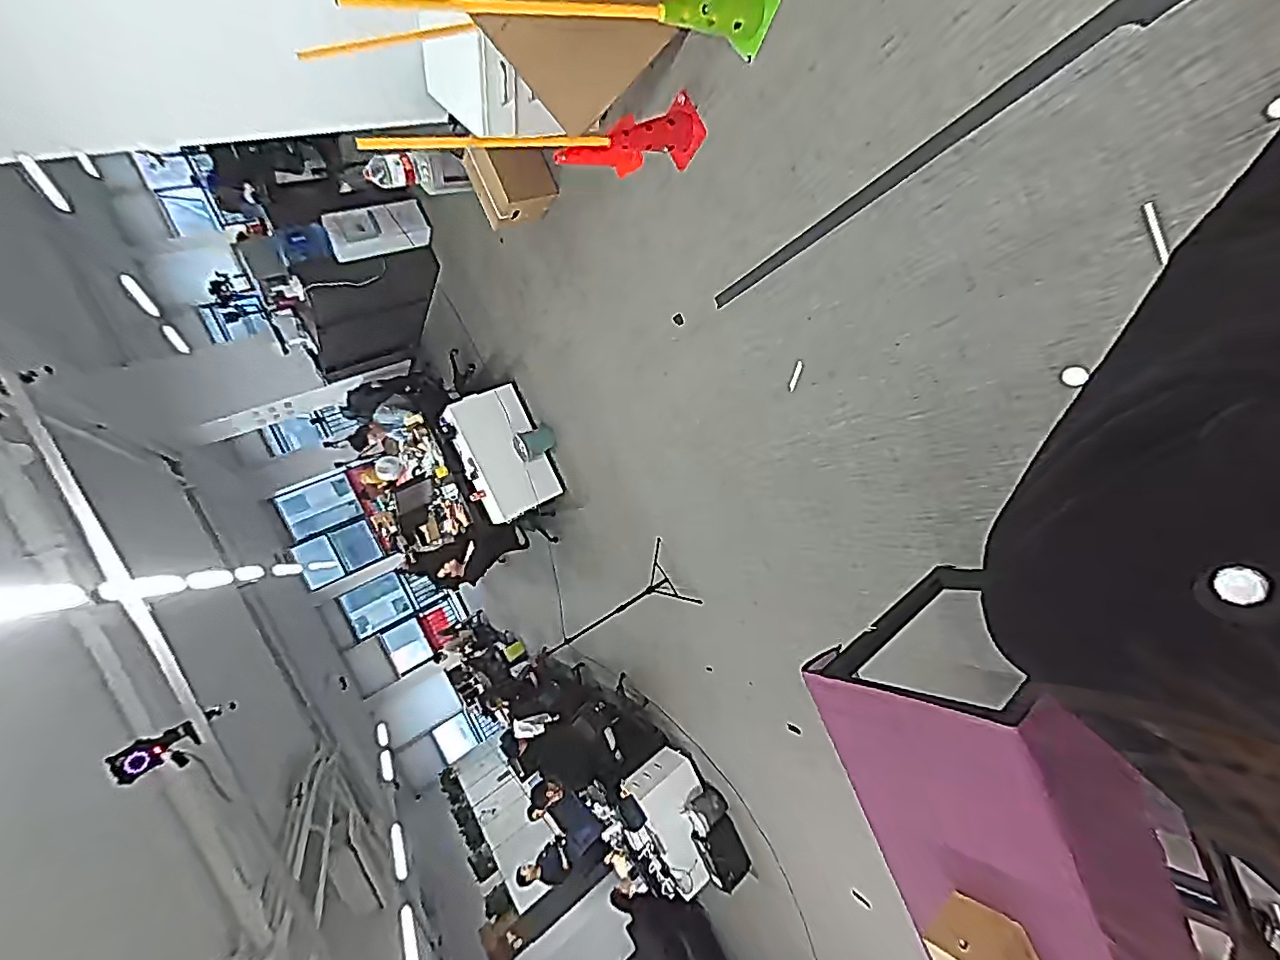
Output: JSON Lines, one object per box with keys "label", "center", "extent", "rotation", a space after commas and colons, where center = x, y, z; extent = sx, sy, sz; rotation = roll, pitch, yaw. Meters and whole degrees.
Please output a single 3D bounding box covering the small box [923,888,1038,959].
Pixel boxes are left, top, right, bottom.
{"label": "small box", "center": [0.860, 1.181, 1.351], "extent": [0.179, 0.176, 0.168], "rotation": [-20, 96, 62]}
